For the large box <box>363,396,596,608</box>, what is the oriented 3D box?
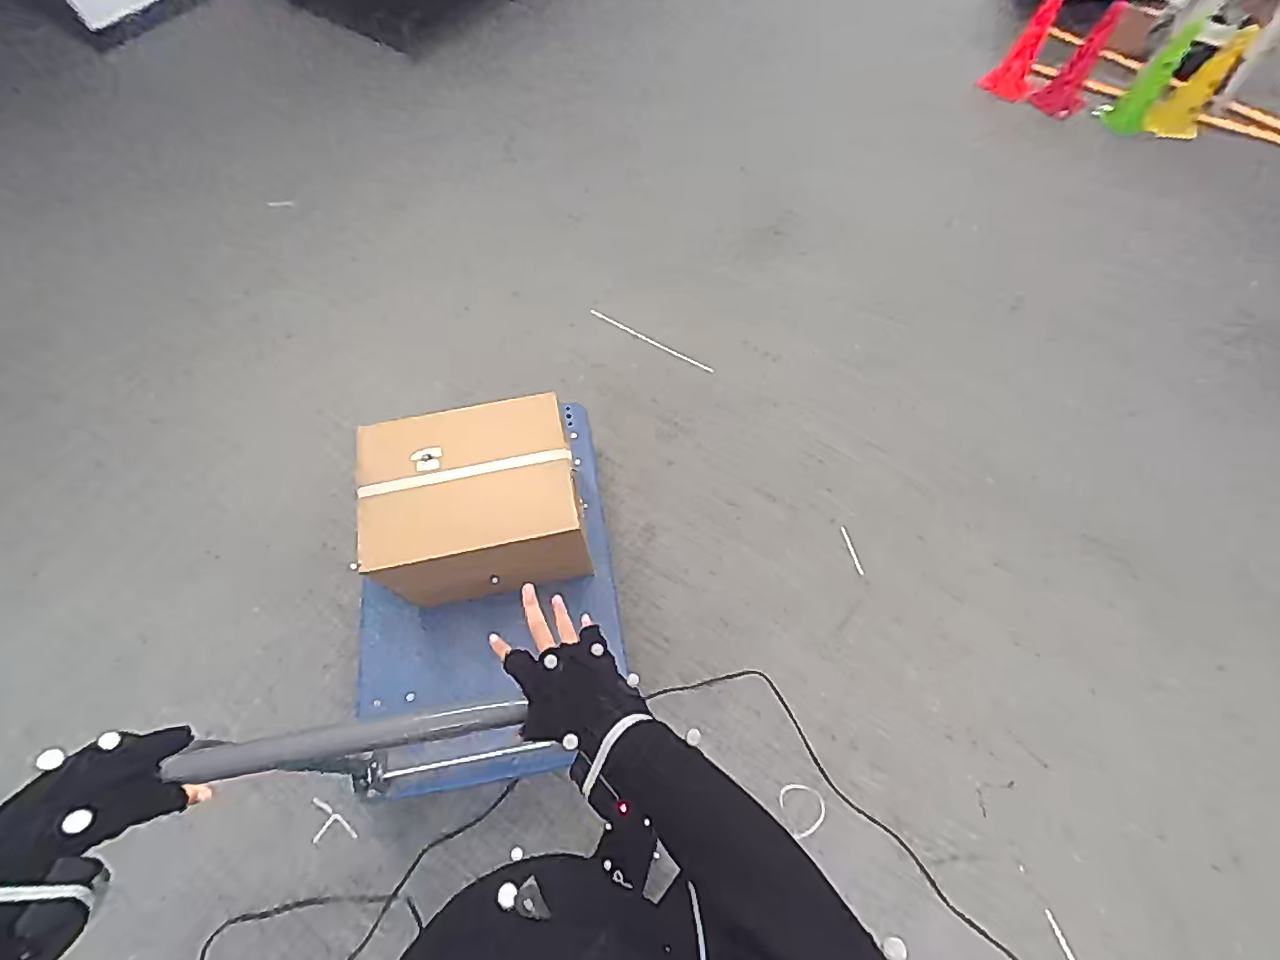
[{"bbox_3d":[-0.331,0.062,1.185,0.408,0.320,0.320,-12,64,-4],"label":"large box"}]
